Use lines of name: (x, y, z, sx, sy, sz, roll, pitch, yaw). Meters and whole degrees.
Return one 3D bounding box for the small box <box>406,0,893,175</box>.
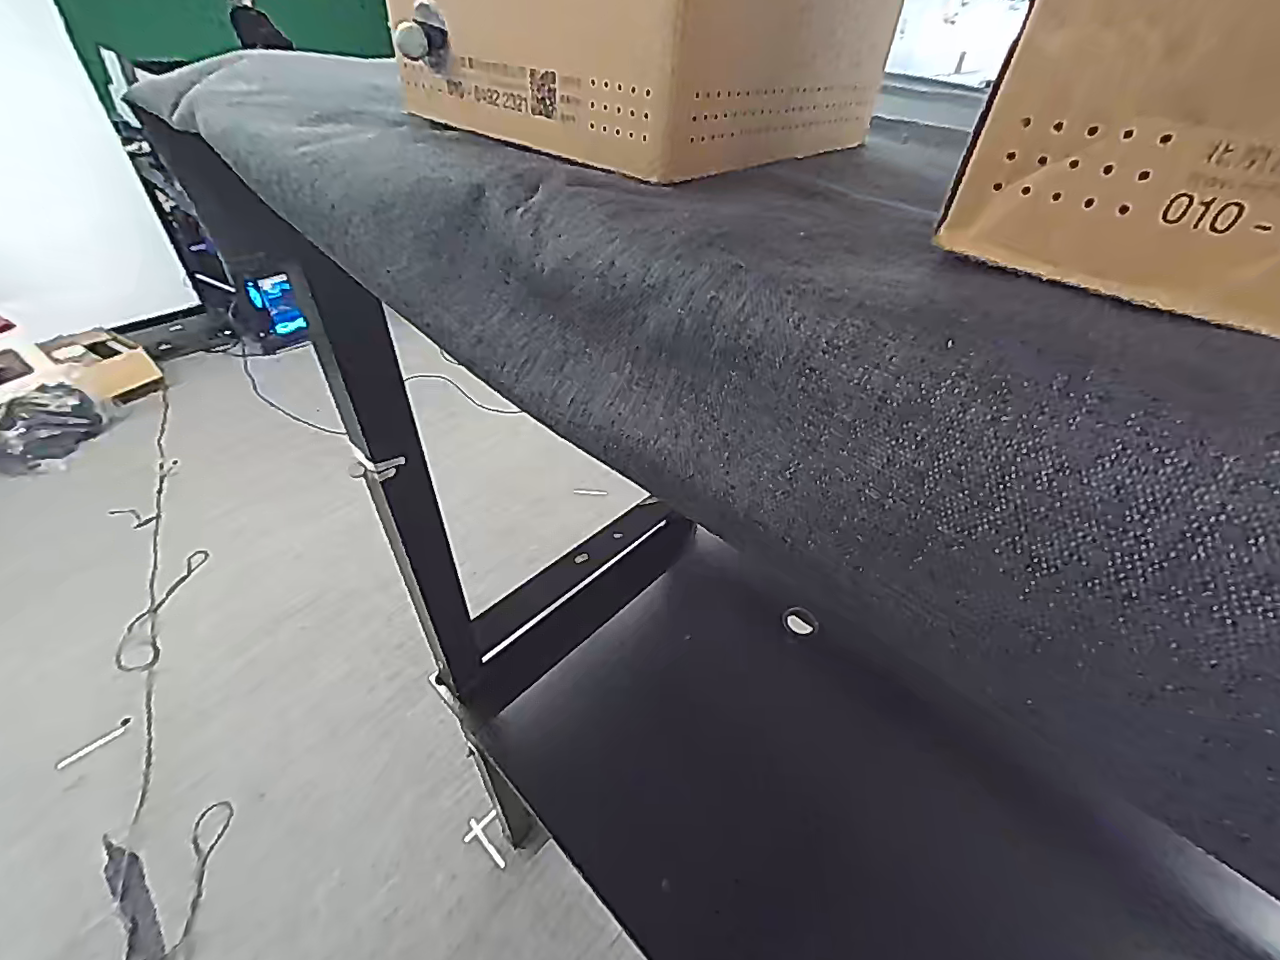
small box: (0.010, -0.240, 0.227, 0.168, 0.176, 0.179, 32, 46, 27)
